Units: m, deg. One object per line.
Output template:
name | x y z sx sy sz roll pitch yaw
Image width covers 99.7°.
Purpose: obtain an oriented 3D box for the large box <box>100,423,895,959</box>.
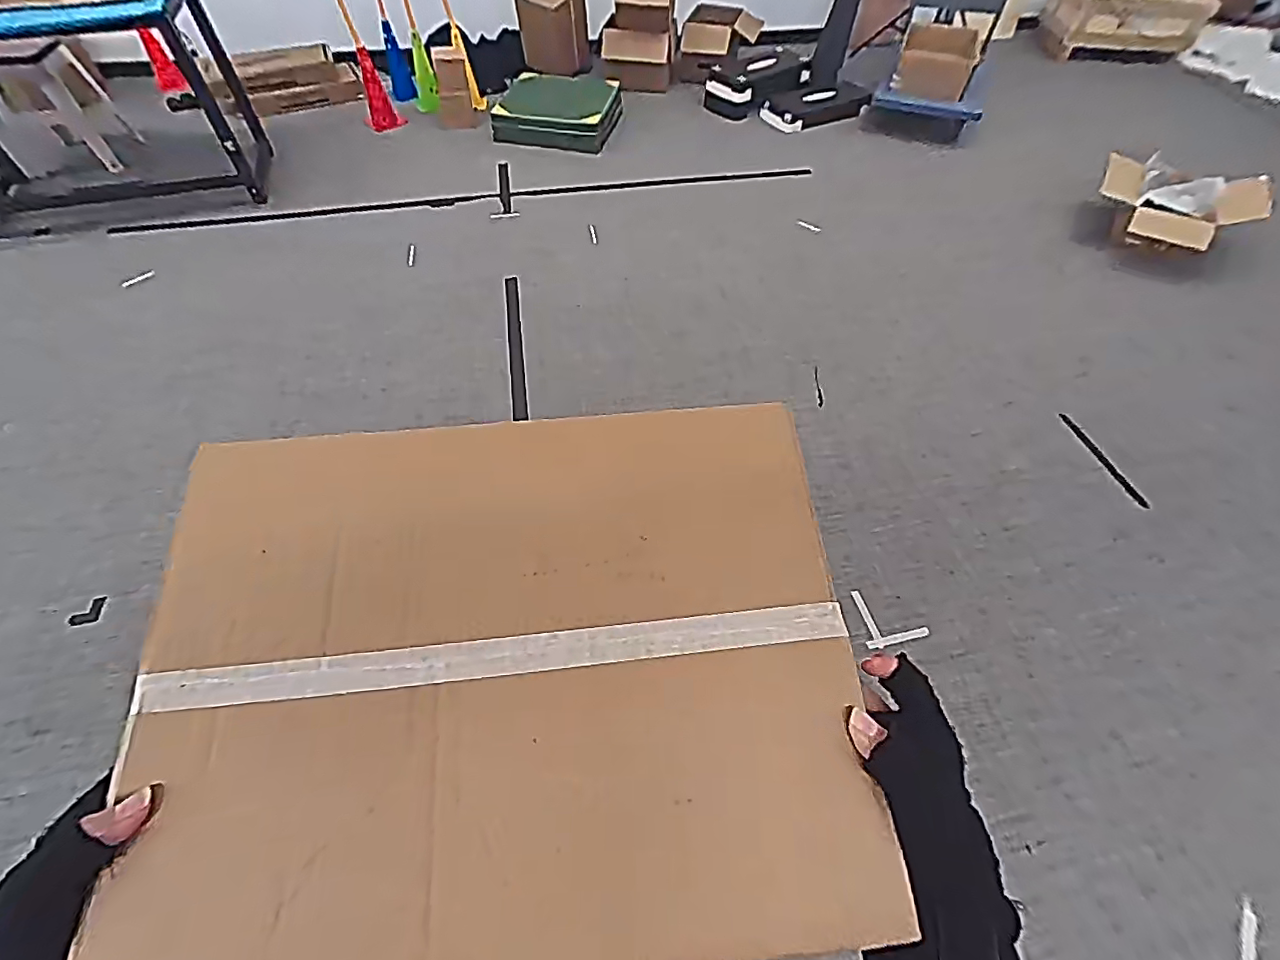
large box | -0.082 0.174 0.459 0.408 0.320 0.320 -5 66 -4
